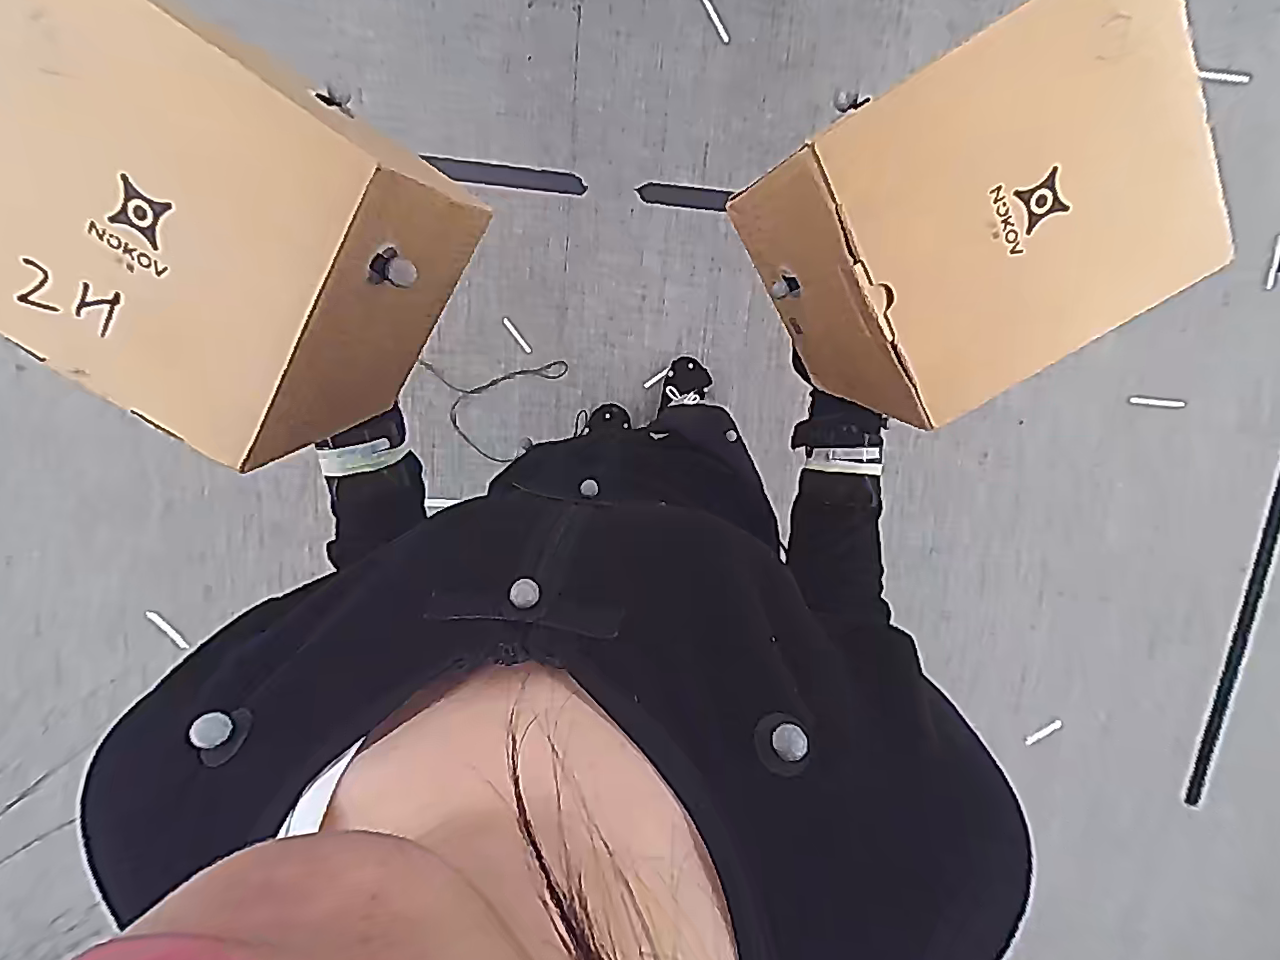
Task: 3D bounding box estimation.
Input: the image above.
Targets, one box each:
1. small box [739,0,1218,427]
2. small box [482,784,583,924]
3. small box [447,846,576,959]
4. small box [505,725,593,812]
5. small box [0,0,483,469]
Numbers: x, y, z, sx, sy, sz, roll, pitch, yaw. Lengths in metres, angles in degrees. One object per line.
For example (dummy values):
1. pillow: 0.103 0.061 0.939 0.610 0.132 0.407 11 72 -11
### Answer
1. small box: 0.190 -0.163 0.349 0.179 0.176 0.168 -31 108 7
2. small box: -0.203 0.728 1.065 0.168 0.176 0.179 -2 101 0
3. small box: -0.207 0.752 0.903 0.179 0.176 0.168 4 100 -1
4. small box: -0.209 0.684 1.222 0.179 0.176 0.168 13 99 -2
5. small box: -0.215 -0.142 0.320 0.168 0.176 0.179 33 108 -9
